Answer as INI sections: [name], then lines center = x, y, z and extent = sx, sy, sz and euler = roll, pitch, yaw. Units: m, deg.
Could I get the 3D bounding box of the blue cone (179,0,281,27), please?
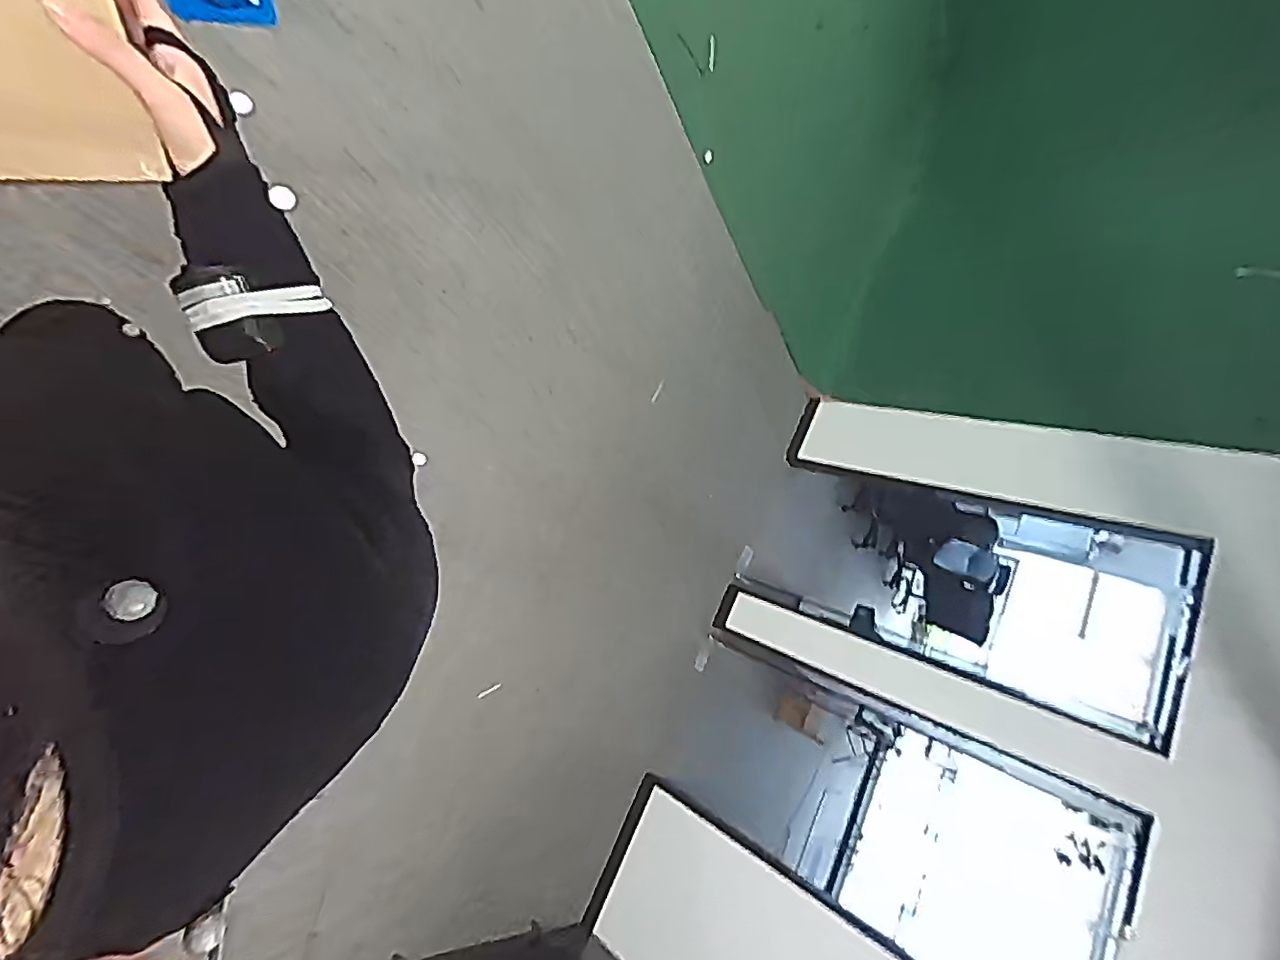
[blue cone]
center = -0.709, -0.978, 0.963
extent = 0.193, 0.380, 0.192
euler = -38, 130, -39
